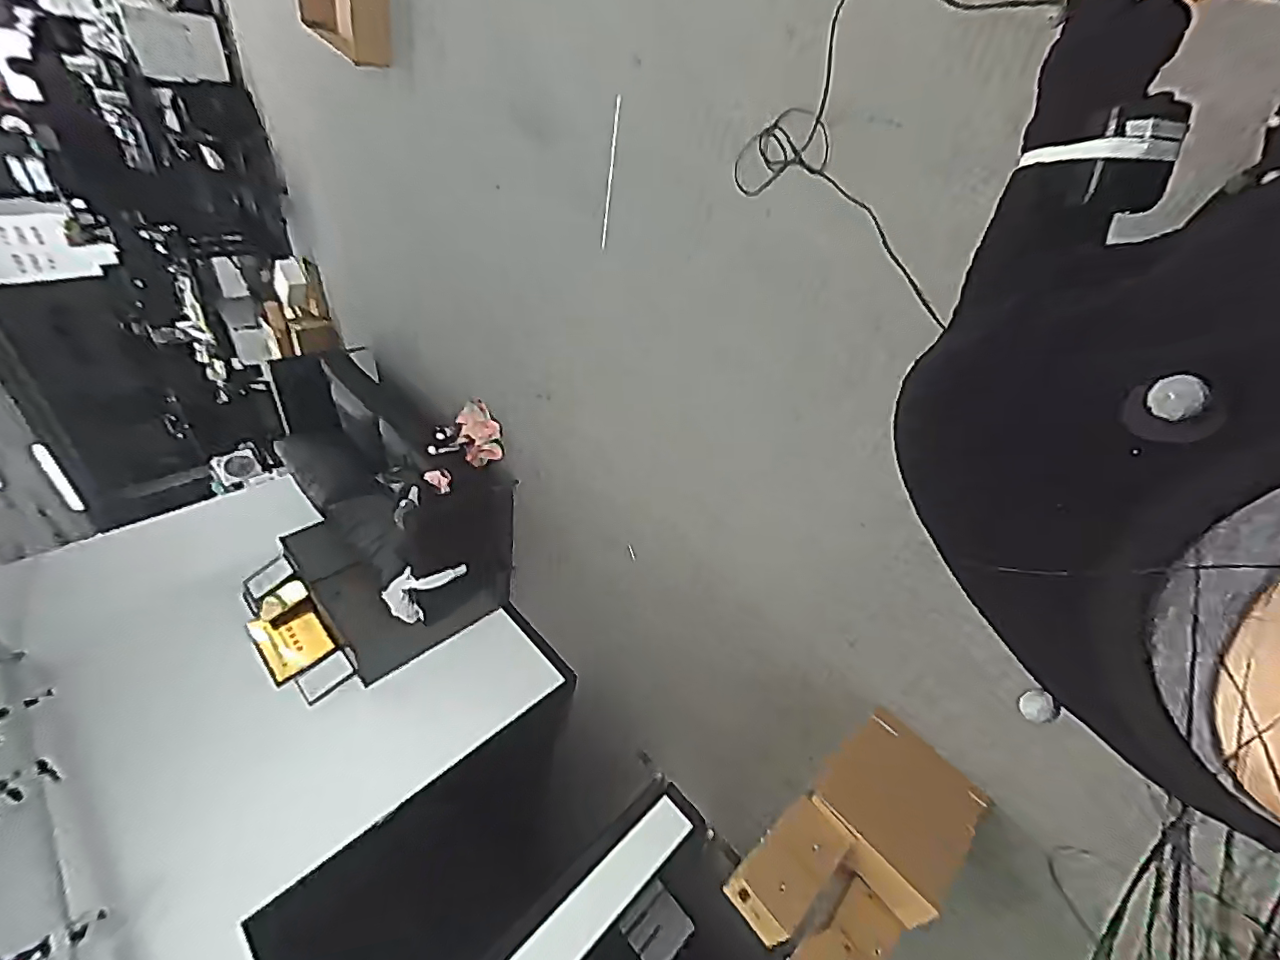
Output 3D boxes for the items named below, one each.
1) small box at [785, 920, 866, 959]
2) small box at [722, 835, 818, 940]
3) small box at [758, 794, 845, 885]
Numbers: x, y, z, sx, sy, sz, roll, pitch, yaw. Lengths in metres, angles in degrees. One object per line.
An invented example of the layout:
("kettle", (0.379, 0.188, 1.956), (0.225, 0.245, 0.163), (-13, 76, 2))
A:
("small box", (0.528, 1.400, 1.531), (0.168, 0.176, 0.179), (43, 137, 23))
("small box", (0.378, 1.173, 1.571), (0.179, 0.176, 0.168), (42, 137, 25))
("small box", (0.497, 1.119, 1.669), (0.179, 0.176, 0.168), (41, 135, 25))
